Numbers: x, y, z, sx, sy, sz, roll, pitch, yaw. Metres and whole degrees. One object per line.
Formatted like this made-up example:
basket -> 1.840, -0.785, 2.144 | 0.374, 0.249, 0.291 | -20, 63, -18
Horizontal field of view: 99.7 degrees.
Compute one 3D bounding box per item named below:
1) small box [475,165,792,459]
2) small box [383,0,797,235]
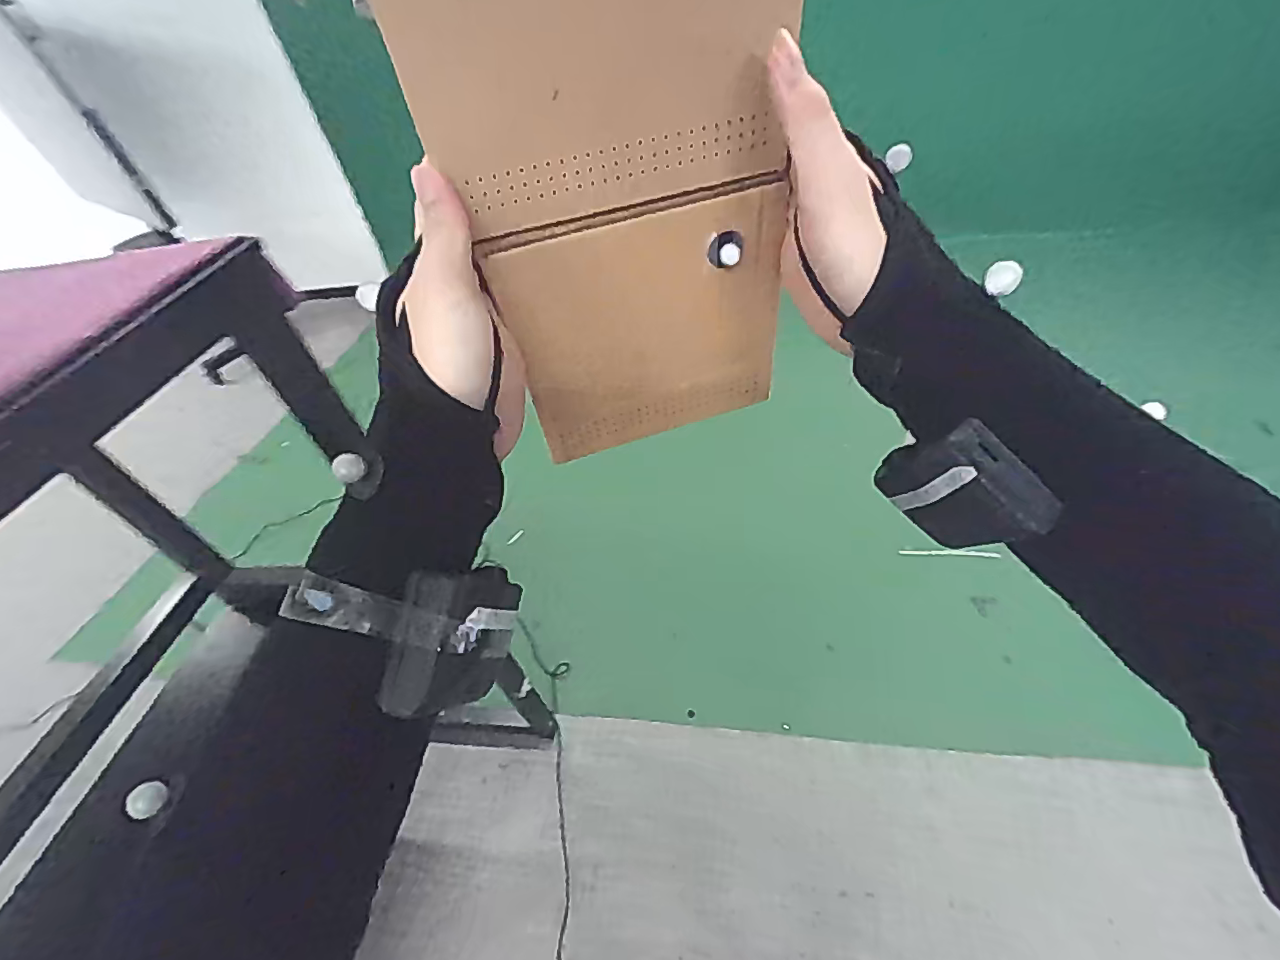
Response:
small box -> -0.012, -0.139, 0.393 | 0.179, 0.176, 0.168 | -17, 51, -7
small box -> -0.032, -0.244, 0.263 | 0.179, 0.176, 0.168 | -15, 52, -6
